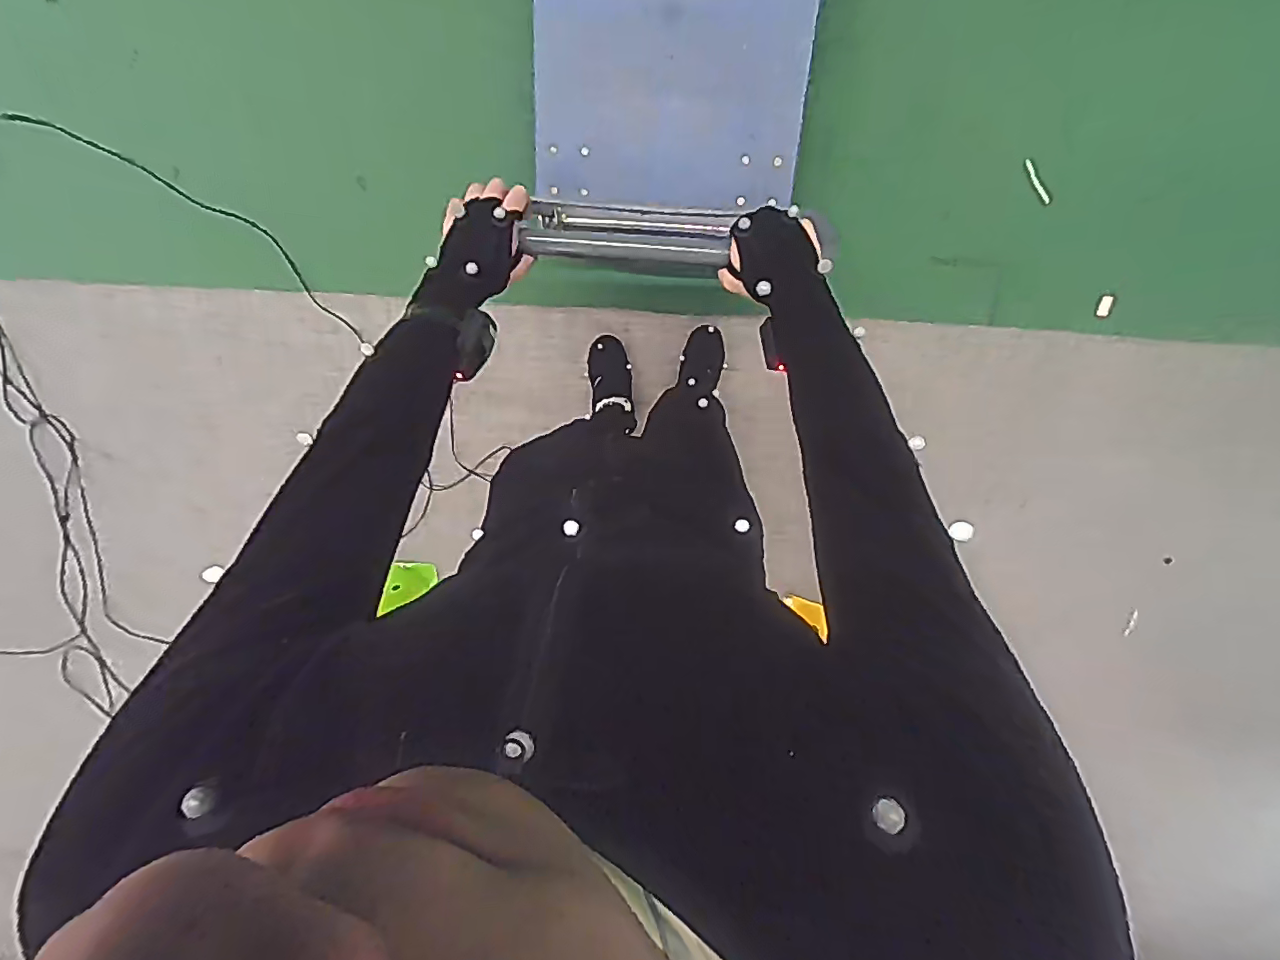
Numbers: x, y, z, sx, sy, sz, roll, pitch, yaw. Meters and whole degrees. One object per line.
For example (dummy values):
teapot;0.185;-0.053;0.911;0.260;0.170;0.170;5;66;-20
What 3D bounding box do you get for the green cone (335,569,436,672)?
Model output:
green cone;-0.816;0.454;1.680;0.202;0.368;0.200;1;111;5
